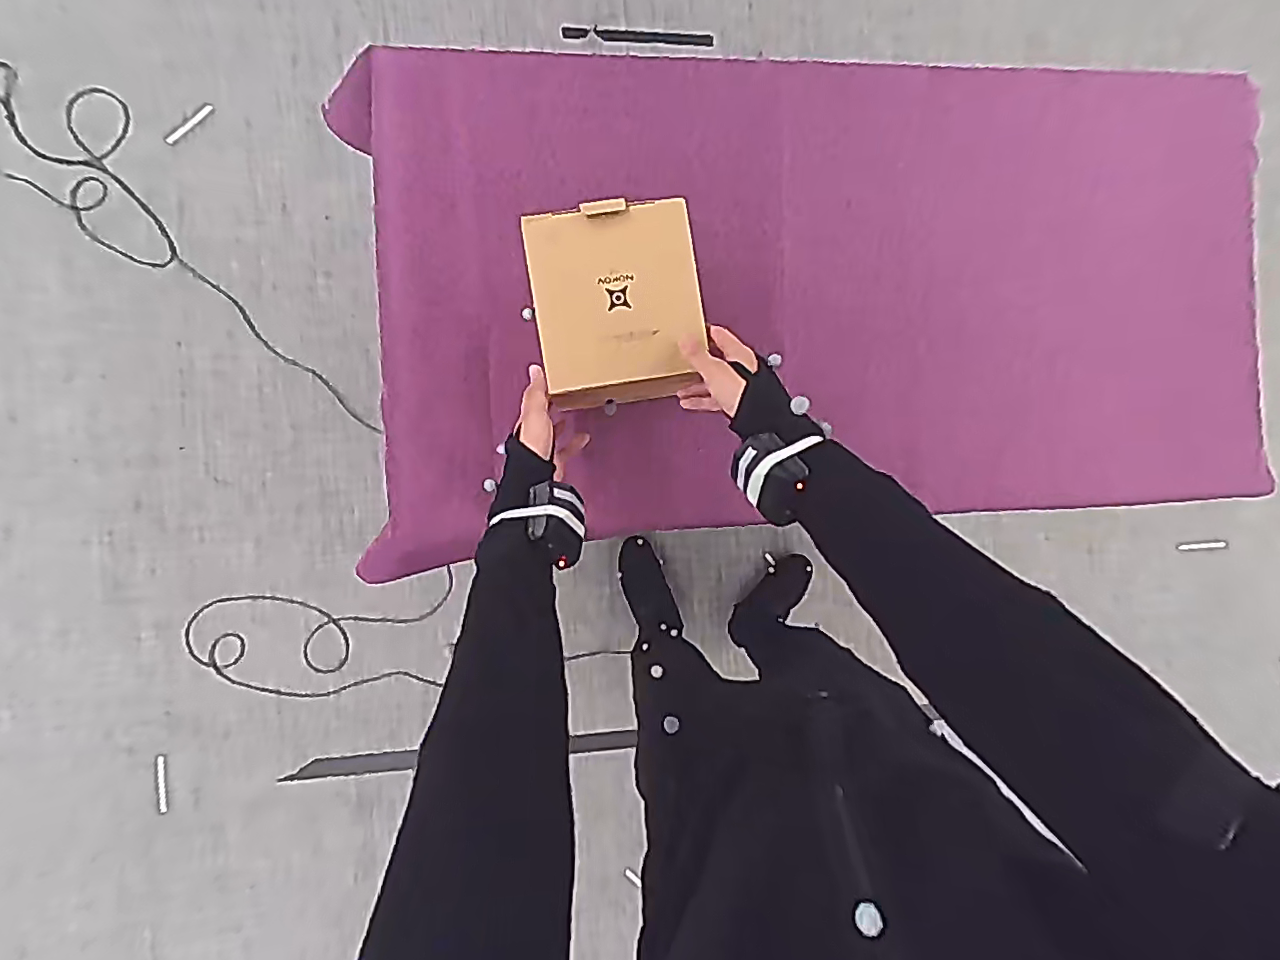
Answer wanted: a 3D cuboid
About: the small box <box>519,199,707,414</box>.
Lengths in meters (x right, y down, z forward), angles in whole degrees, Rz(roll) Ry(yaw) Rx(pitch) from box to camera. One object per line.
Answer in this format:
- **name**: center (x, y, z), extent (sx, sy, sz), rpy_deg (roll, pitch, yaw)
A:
- **small box**: center (-0.034, -0.179, 0.602), extent (0.168, 0.176, 0.179), rpy_deg (-9, 91, -5)
